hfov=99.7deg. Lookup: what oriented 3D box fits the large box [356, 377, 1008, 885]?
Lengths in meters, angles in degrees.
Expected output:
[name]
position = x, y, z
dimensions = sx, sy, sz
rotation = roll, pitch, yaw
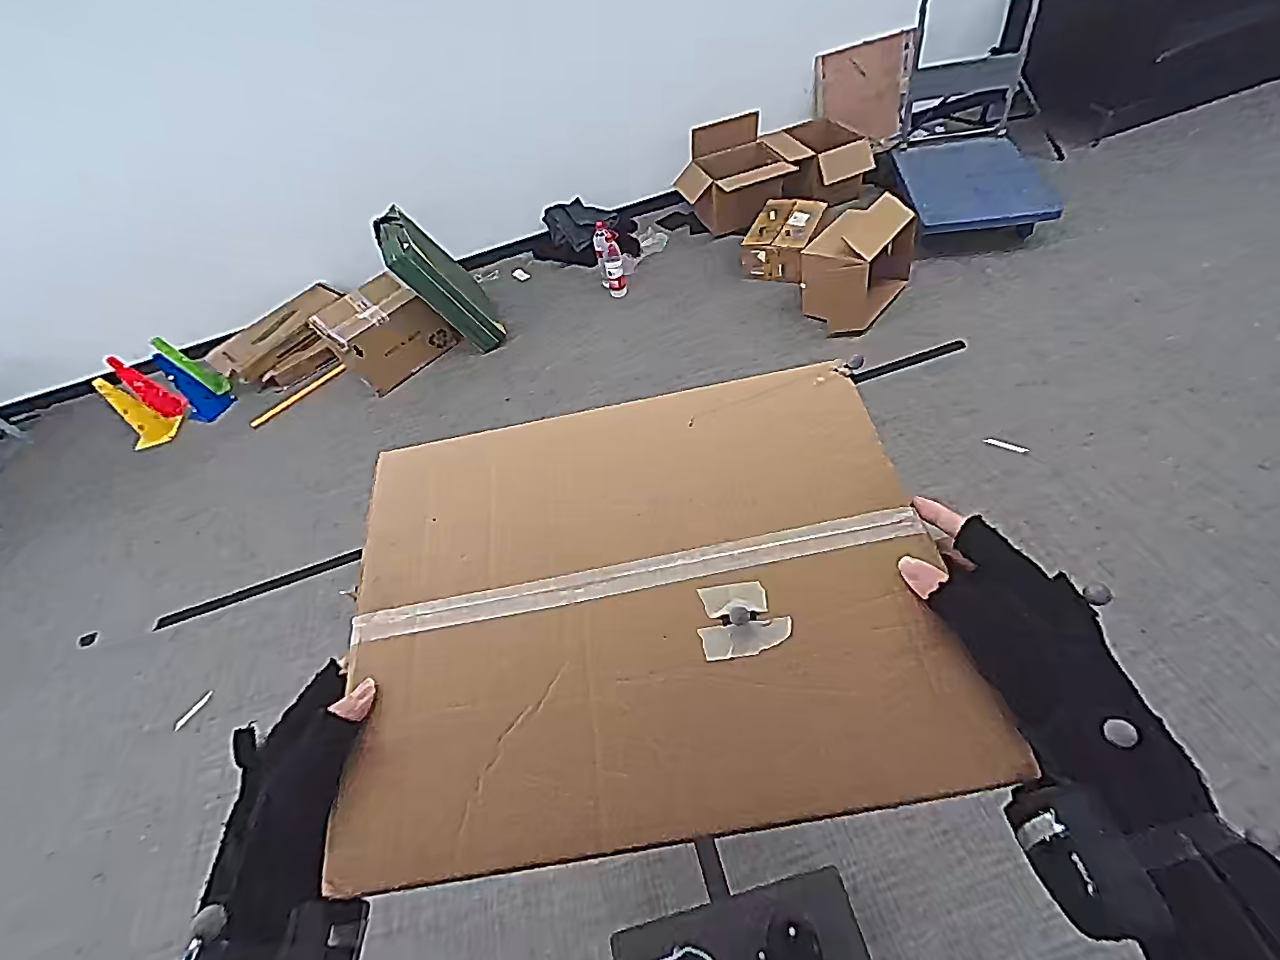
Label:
[large box]
position = 0.018, 0.153, 0.522
dimensions = 0.408, 0.320, 0.320
rotation = -11, 58, 2
